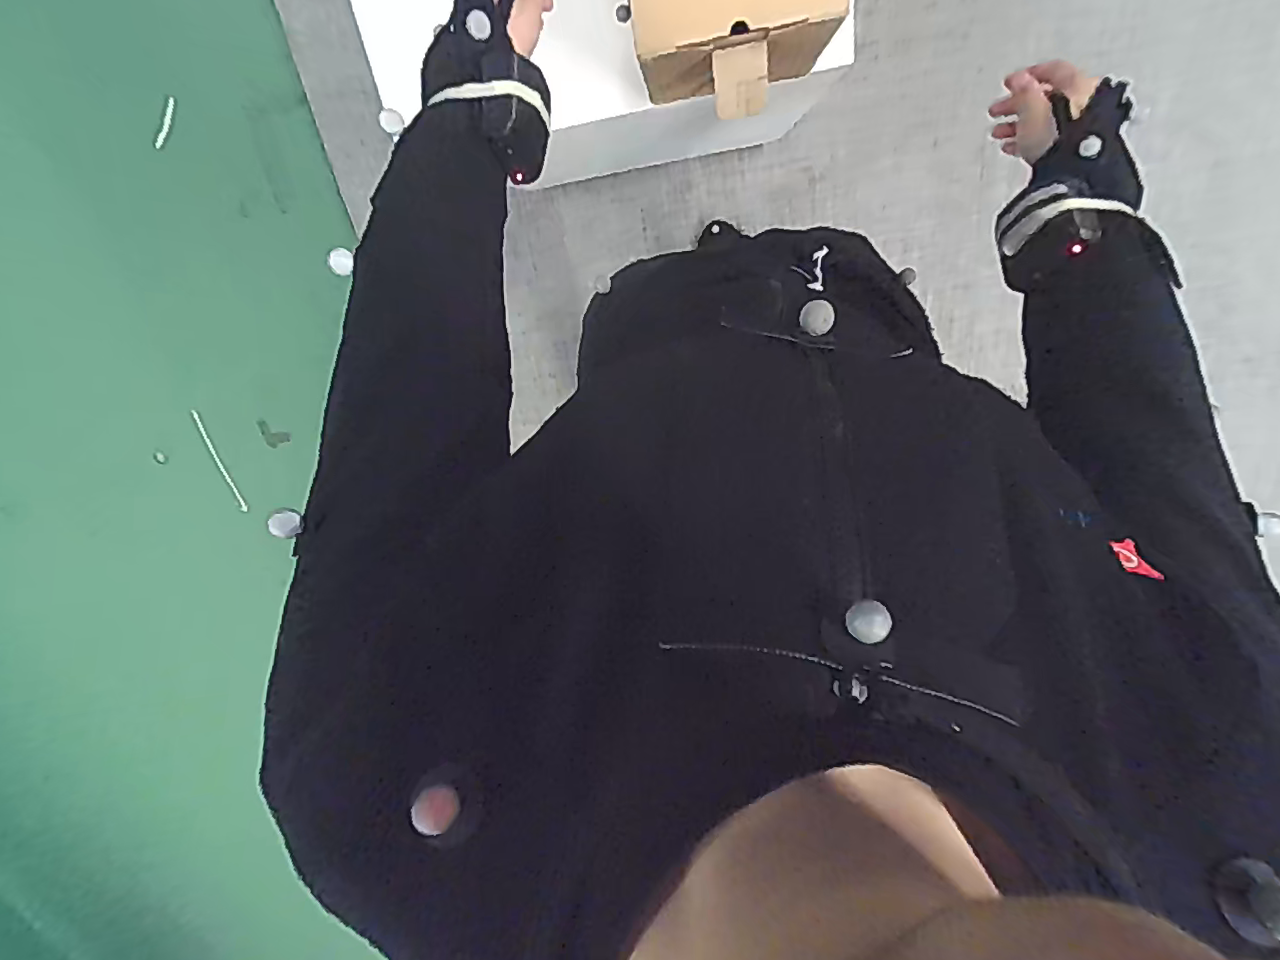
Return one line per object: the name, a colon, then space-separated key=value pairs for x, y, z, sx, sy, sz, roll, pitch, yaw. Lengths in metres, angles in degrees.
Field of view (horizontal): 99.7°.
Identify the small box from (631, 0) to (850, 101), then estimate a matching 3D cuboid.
small box: x=0.073 y=-0.455 z=0.457 sx=0.168 sy=0.176 sz=0.179 roll=-6 pitch=114 yaw=8
